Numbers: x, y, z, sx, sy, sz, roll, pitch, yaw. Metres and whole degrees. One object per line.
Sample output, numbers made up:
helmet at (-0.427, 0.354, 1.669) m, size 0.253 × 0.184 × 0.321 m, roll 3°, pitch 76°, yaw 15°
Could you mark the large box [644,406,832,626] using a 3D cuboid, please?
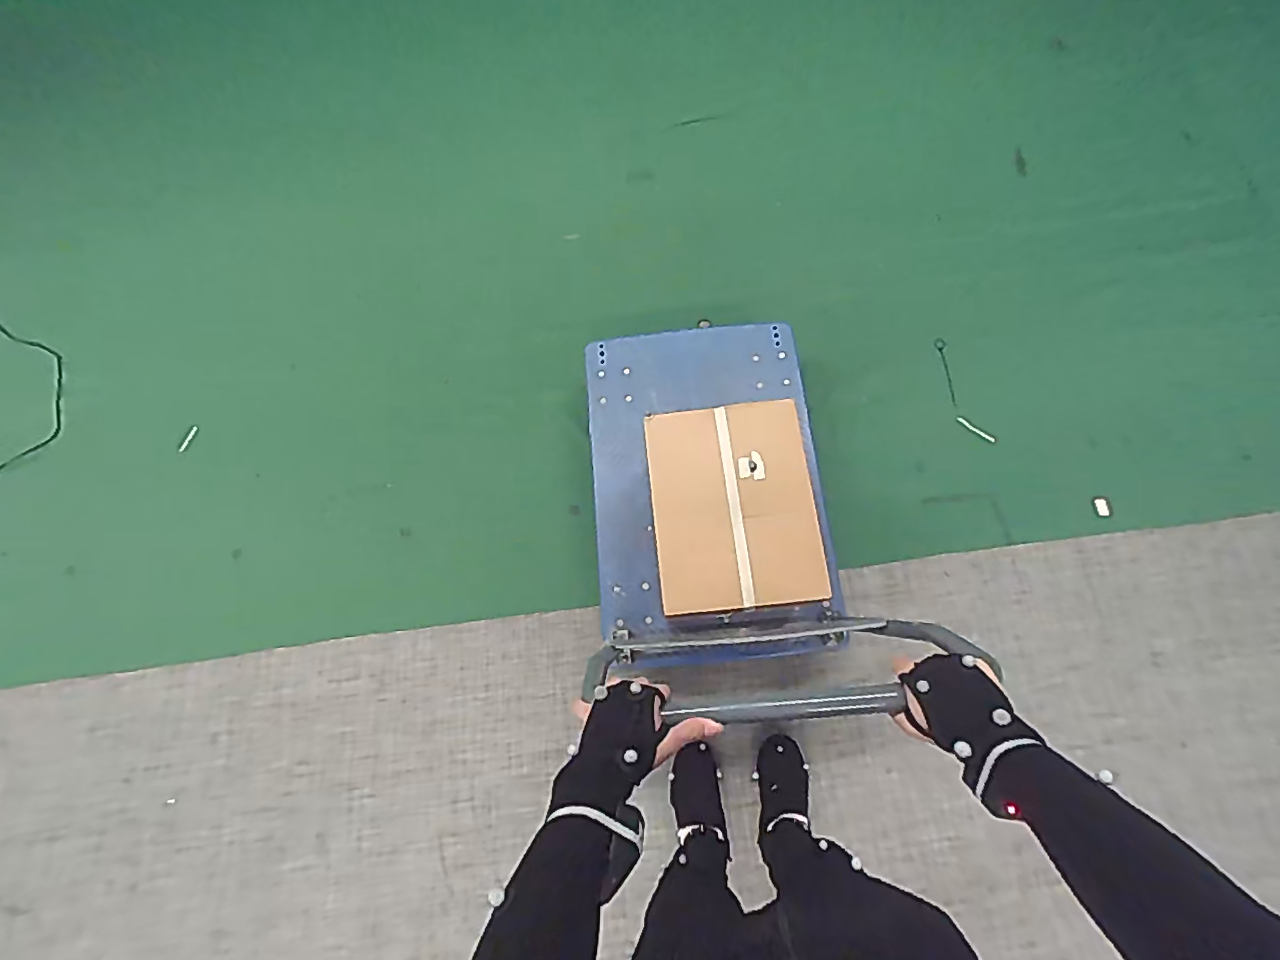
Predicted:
large box at (0.192, 0.097, 1.195) m, size 0.320 × 0.320 × 0.408 m, roll -6°, pitch 73°, yaw 1°
